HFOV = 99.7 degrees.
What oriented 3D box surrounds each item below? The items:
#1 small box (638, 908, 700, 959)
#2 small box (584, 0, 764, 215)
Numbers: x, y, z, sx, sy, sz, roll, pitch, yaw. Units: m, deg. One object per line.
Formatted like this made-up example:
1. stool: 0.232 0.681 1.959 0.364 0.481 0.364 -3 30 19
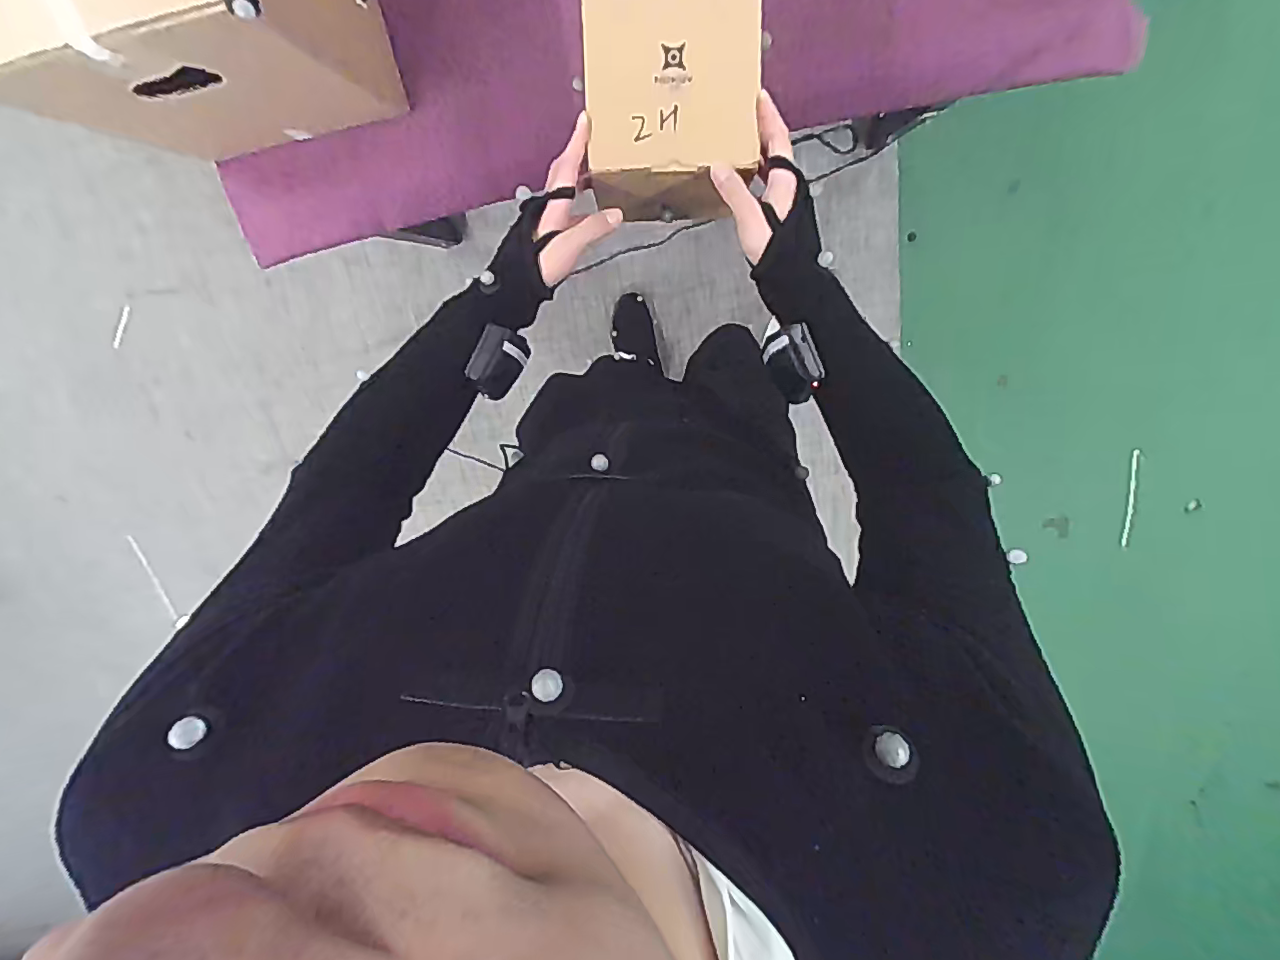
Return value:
1. small box: 0.091 1.460 1.667 0.179 0.176 0.168 -11 110 7
2. small box: 0.031 -0.400 0.574 0.168 0.176 0.179 -1 101 1
